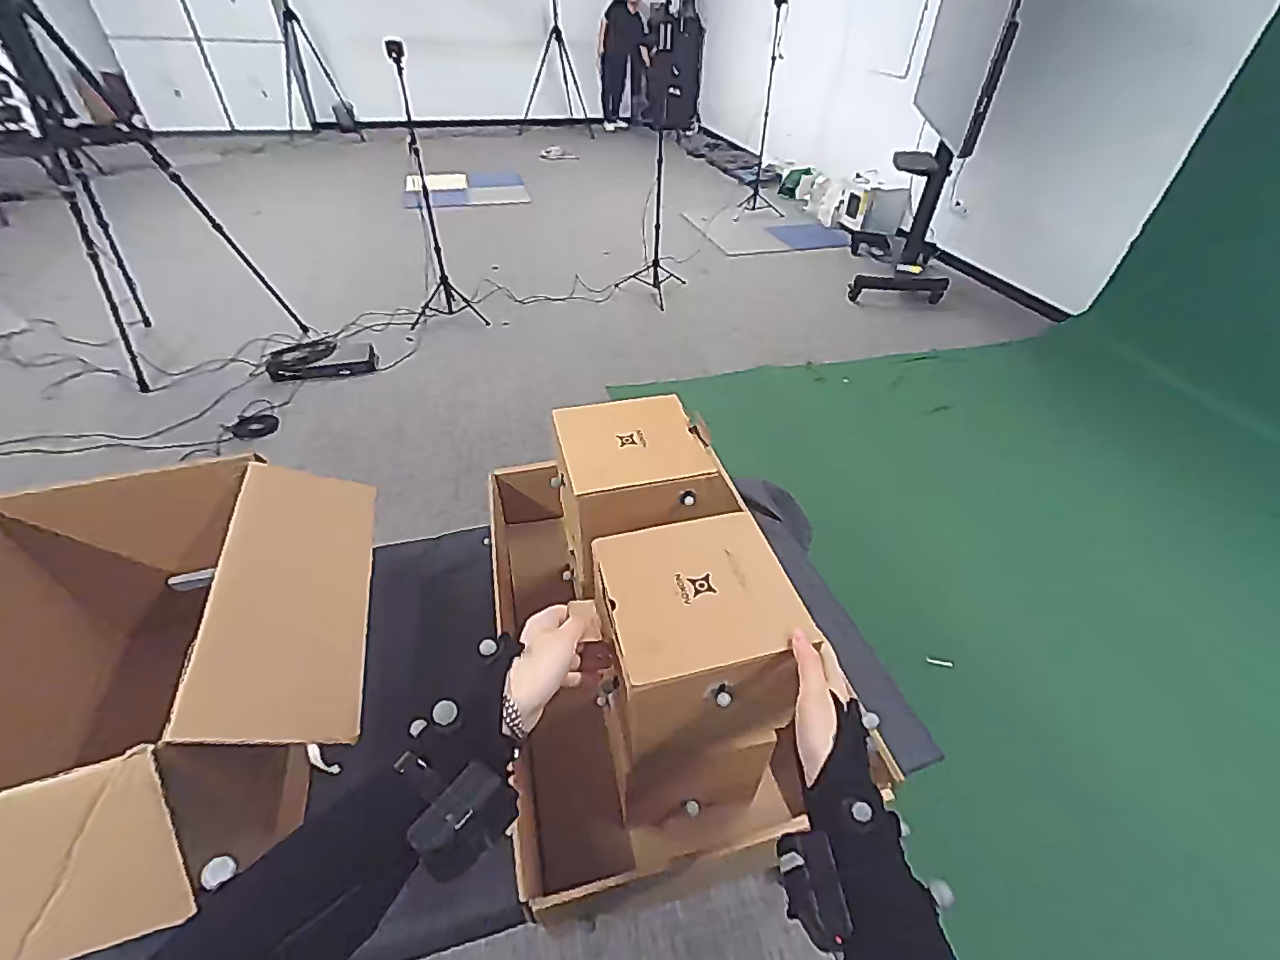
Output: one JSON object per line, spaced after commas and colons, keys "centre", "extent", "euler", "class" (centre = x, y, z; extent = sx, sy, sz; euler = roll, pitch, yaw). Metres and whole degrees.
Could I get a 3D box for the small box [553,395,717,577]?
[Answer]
{"centre": [-0.013, 0.010, 0.728], "extent": [0.179, 0.176, 0.168], "euler": [-9, 45, -13], "class": "small box"}
